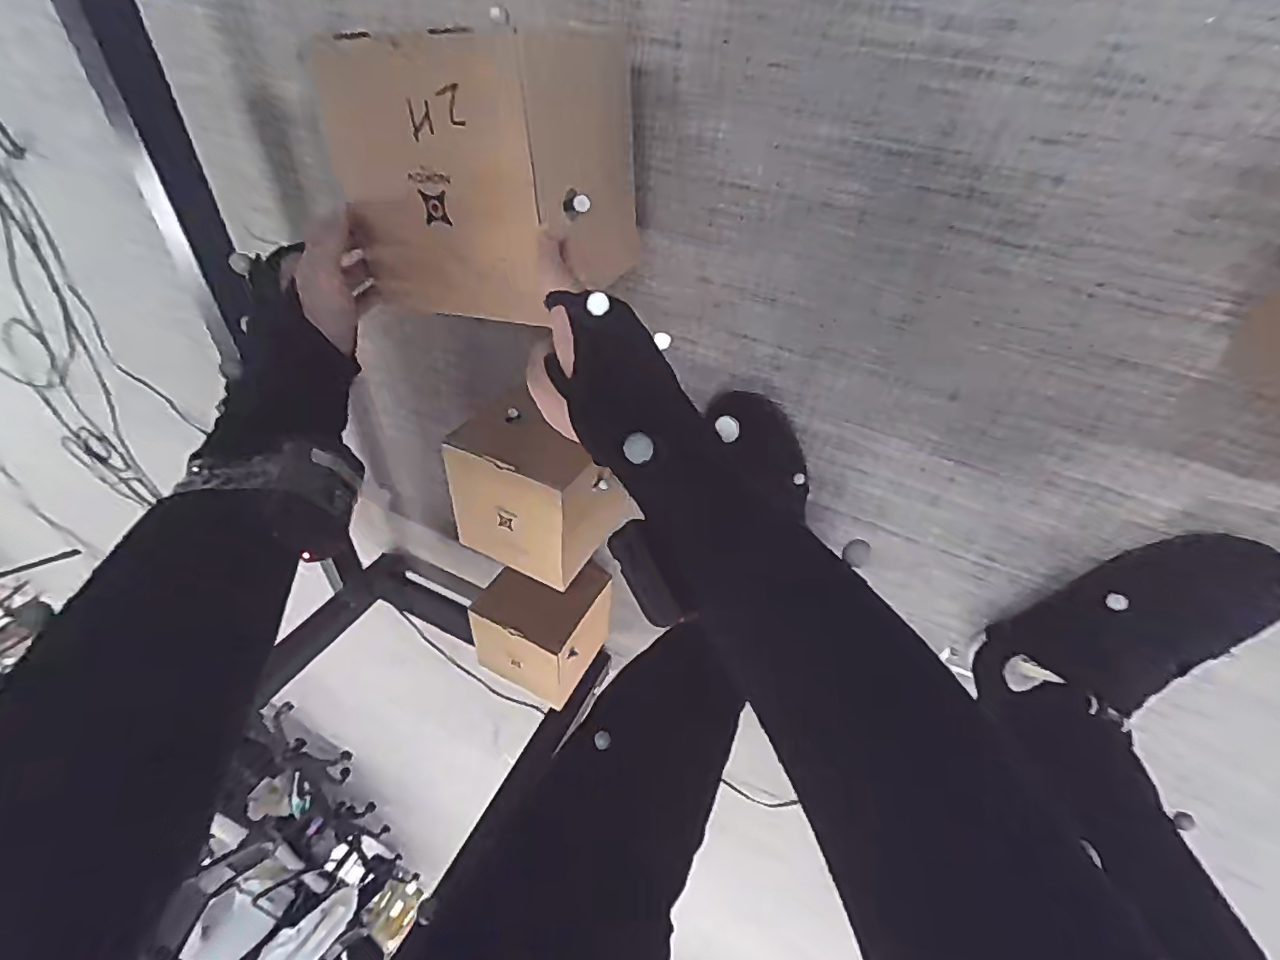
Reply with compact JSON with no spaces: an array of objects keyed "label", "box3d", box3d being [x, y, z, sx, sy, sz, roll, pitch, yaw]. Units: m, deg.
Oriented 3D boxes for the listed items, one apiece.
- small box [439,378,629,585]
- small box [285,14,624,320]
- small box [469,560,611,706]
[{"label":"small box","box3d":[-0.124,-0.006,0.693,0.168,0.176,0.179,22,134,17]},{"label":"small box","box3d":[-0.119,-0.251,0.430,0.168,0.176,0.179,12,132,17]},{"label":"small box","box3d":[-0.158,0.234,0.909,0.168,0.176,0.179,20,133,17]}]
